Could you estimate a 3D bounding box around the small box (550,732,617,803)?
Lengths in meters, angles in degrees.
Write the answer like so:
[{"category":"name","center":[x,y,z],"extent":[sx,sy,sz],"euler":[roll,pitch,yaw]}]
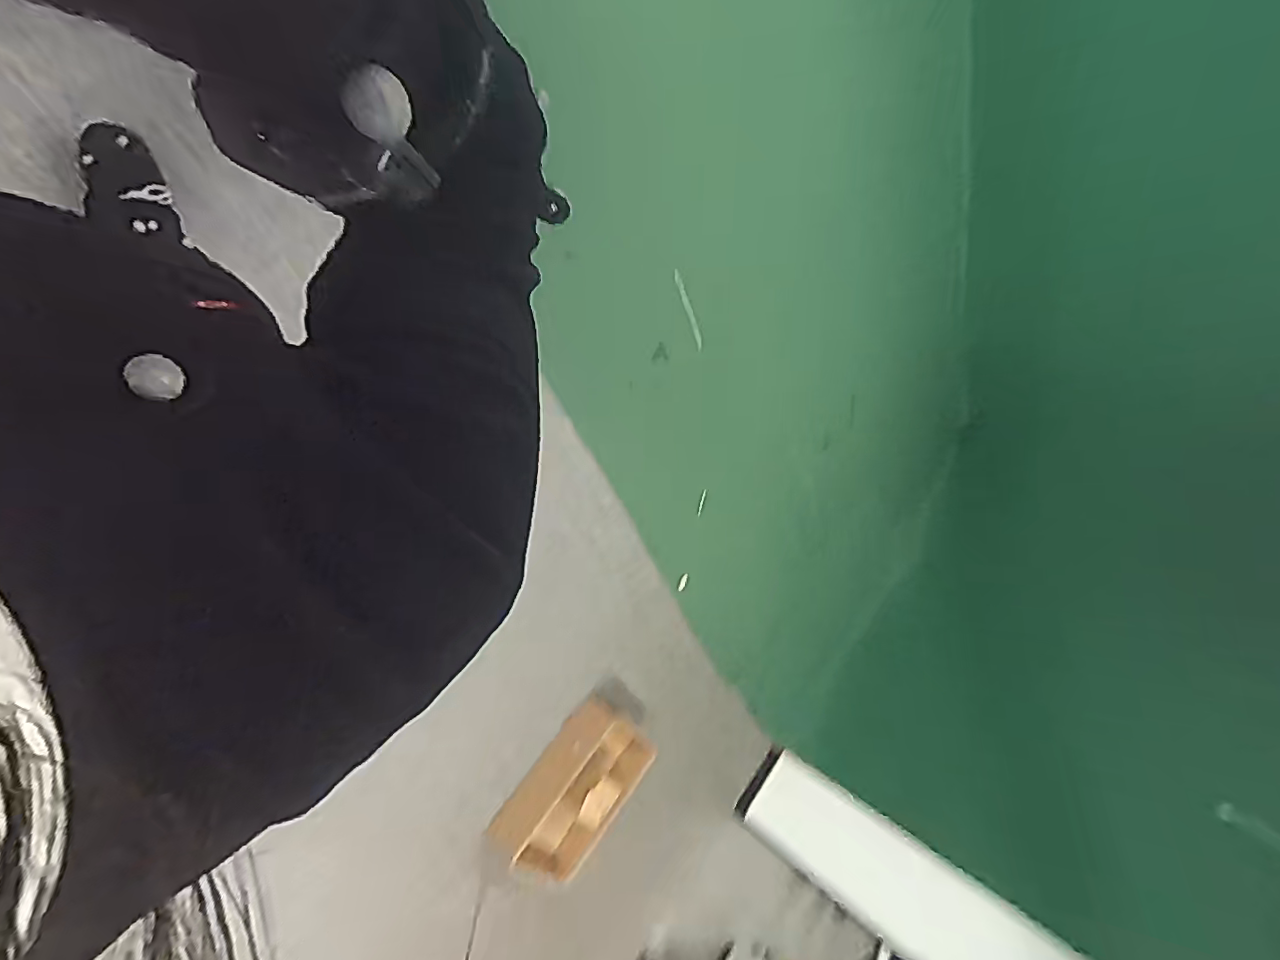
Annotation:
[{"category":"small box","center":[-0.231,1.154,2.183],"extent":[0.168,0.176,0.179],"euler":[-48,133,-19]}]
